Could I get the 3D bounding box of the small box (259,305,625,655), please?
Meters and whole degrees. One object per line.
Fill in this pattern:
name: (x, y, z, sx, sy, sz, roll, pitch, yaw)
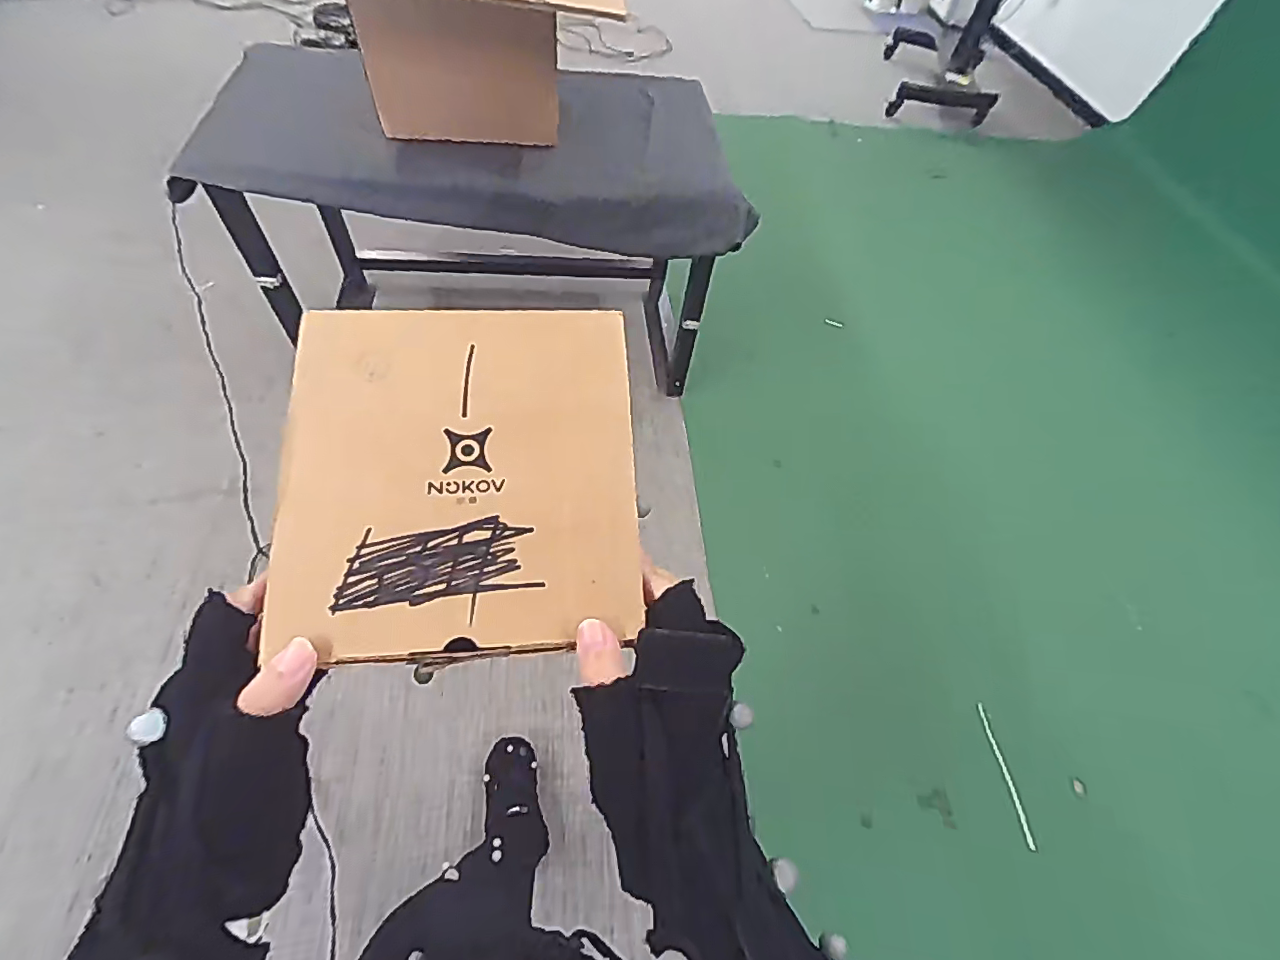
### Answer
small box: (-0.098, 0.013, 0.343, 0.168, 0.176, 0.179, -2, 72, -6)
